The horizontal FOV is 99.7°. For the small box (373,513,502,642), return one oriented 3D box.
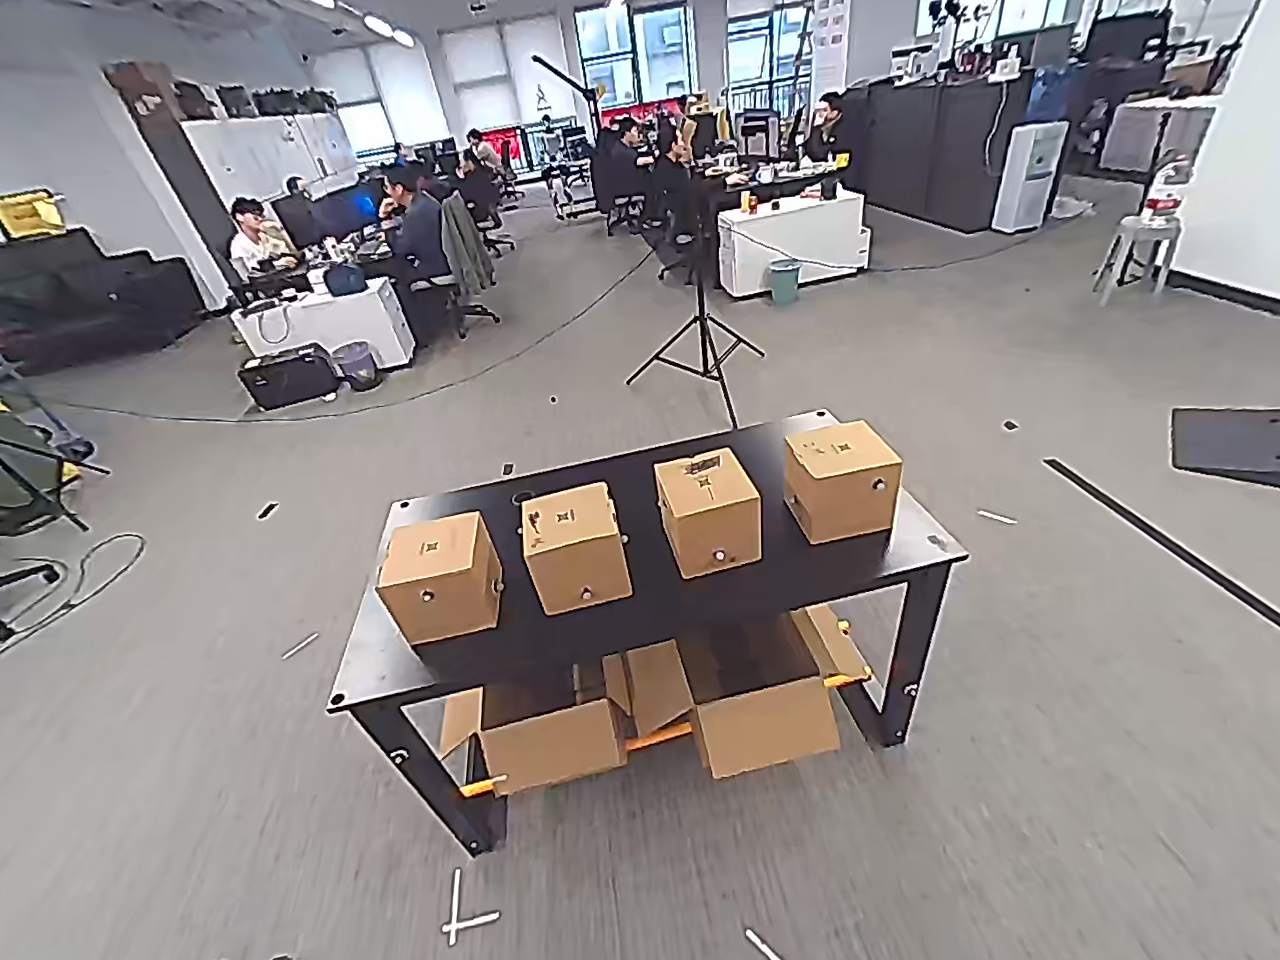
[{"bbox_3d":[-0.384,0.192,1.056,0.179,0.176,0.168,-11,37,-4],"label":"small box"}]

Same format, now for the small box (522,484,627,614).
[{"bbox_3d":[-0.126,0.137,1.069,0.179,0.176,0.168,-13,36,-5],"label":"small box"}]

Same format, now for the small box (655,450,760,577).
[{"bbox_3d":[0.135,0.068,1.099,0.168,0.176,0.179,-14,36,-5],"label":"small box"}]

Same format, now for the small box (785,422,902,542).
[{"bbox_3d":[0.407,0.005,1.116,0.179,0.176,0.168,-12,35,-1],"label":"small box"}]
